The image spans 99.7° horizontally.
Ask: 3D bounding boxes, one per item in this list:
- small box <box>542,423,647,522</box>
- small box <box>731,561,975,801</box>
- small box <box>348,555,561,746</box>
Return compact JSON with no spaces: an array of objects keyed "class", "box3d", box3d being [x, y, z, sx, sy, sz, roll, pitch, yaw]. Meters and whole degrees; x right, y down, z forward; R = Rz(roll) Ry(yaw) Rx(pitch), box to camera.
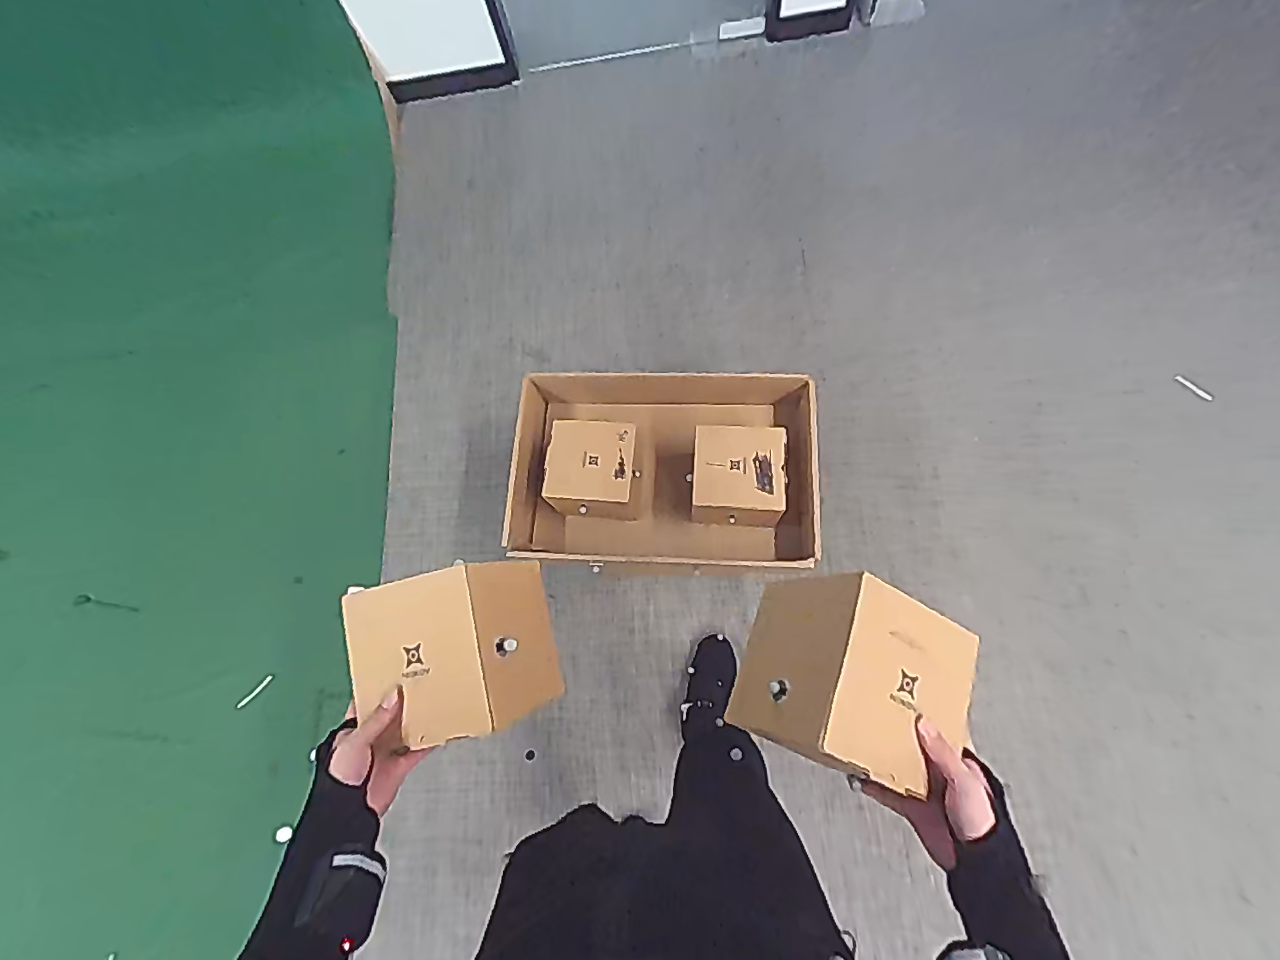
[{"class":"small box","box3d":[-0.089,-0.011,1.148,0.179,0.176,0.168,4,74,9]},{"class":"small box","box3d":[0.223,0.211,0.594,0.168,0.176,0.179,29,67,-13]},{"class":"small box","box3d":[-0.215,0.194,0.655,0.168,0.176,0.179,-16,79,14]}]
